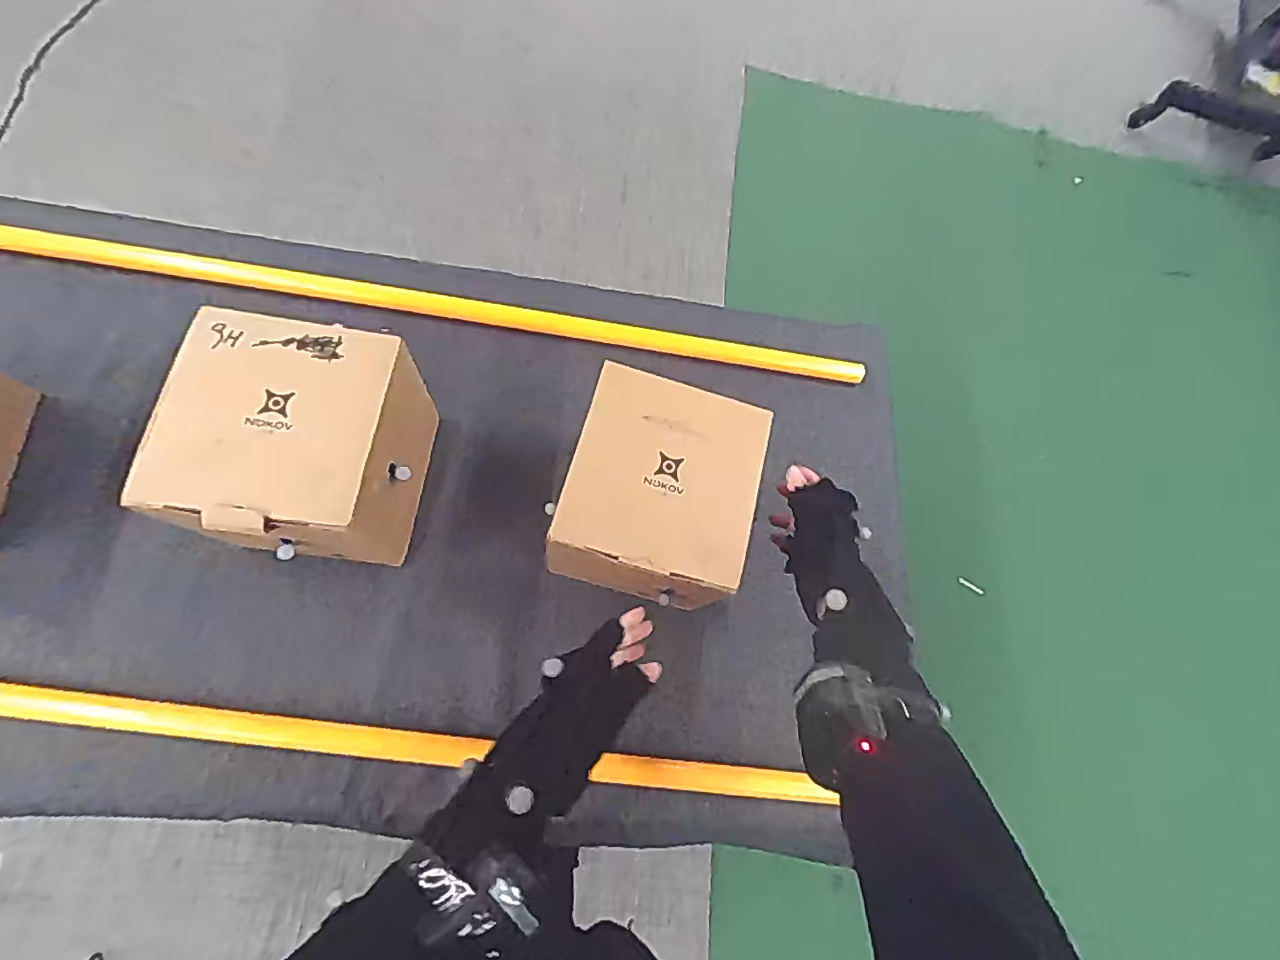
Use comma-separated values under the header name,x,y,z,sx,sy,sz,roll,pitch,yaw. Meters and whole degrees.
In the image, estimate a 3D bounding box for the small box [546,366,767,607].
name,x,y,z,sx,sy,sz,roll,pitch,yaw
small box,0.010,0.020,0.547,0.168,0.176,0.179,16,68,-4

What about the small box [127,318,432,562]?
name,x,y,z,sx,sy,sz,roll,pitch,yaw
small box,-0.311,-0.023,0.516,0.168,0.176,0.179,6,70,-7
